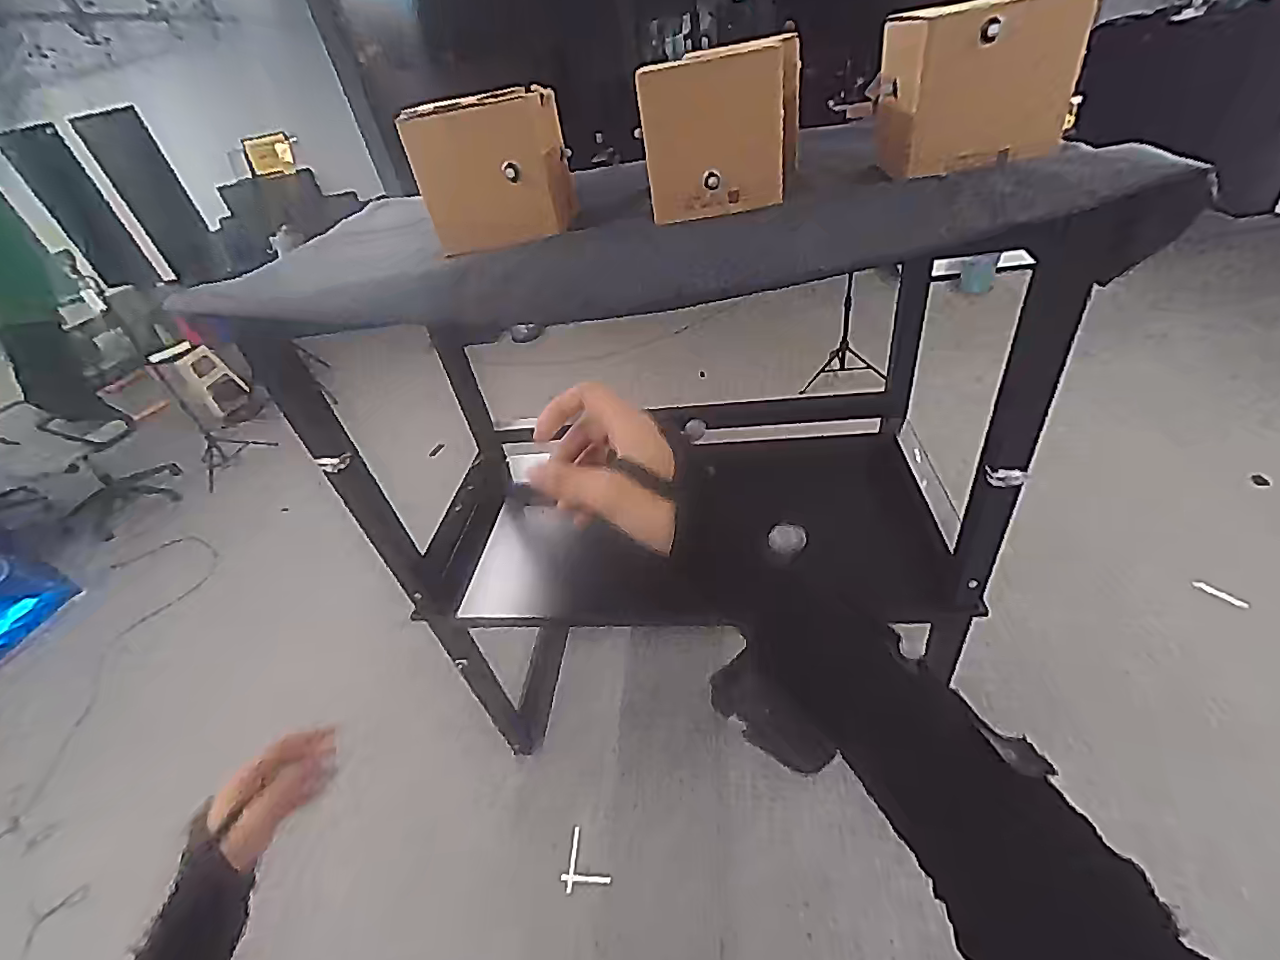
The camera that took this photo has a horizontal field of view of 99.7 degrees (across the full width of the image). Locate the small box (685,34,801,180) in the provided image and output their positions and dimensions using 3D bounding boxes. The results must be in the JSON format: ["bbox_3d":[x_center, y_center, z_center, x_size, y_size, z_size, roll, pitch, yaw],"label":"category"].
[{"bbox_3d":[0.167,-0.601,0.878,0.168,0.176,0.179,-3,38,12],"label":"small box"}]

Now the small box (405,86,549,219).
[{"bbox_3d":[-0.272,-0.572,0.955,0.168,0.176,0.179,-3,38,10],"label":"small box"}]
